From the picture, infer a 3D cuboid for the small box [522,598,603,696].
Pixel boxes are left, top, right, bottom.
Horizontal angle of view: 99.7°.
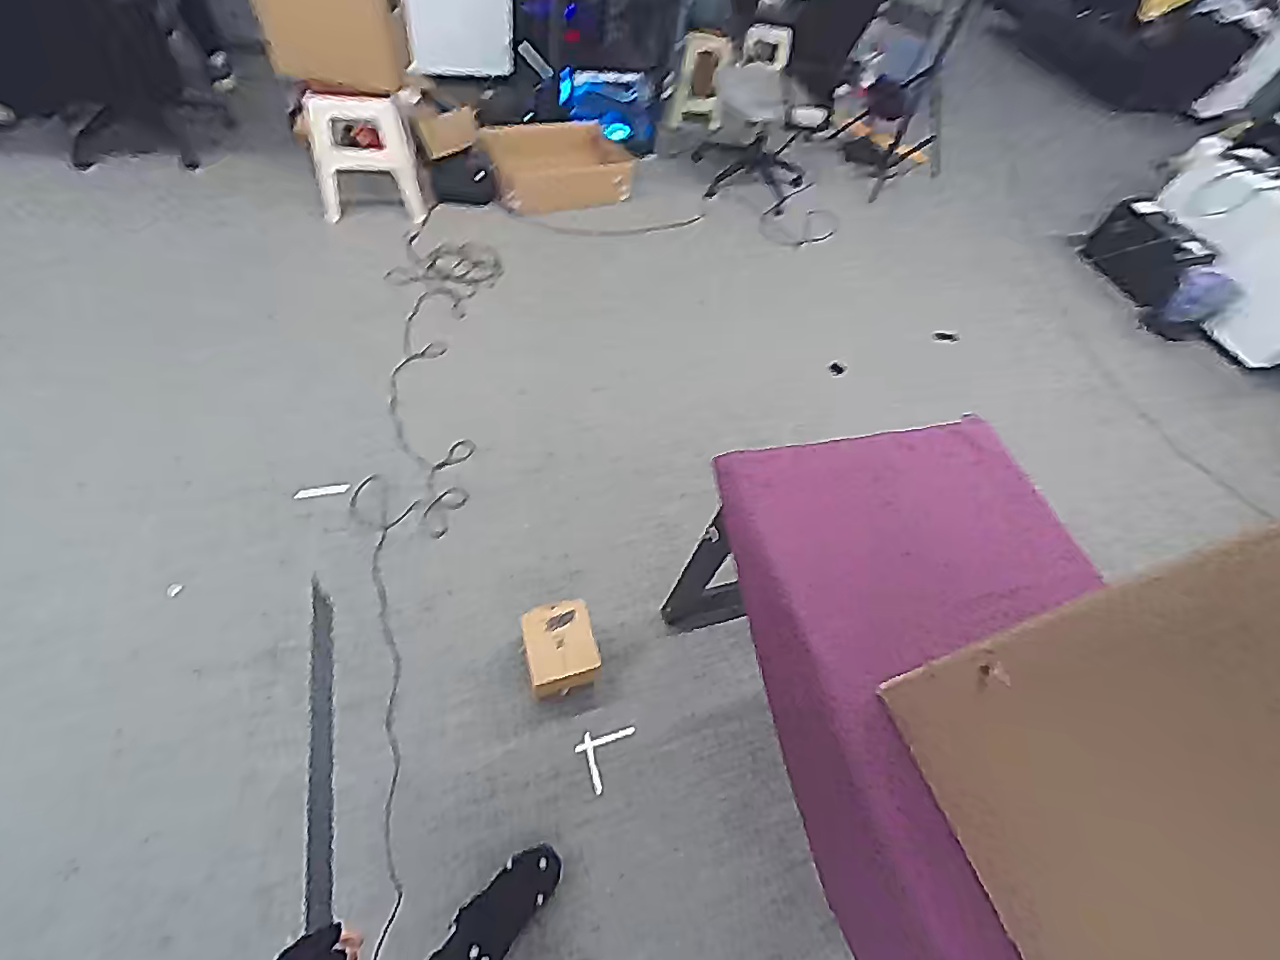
[{"bbox_3d":[-0.204,0.426,1.376,0.168,0.176,0.179,-11,61,-18],"label":"small box"}]
